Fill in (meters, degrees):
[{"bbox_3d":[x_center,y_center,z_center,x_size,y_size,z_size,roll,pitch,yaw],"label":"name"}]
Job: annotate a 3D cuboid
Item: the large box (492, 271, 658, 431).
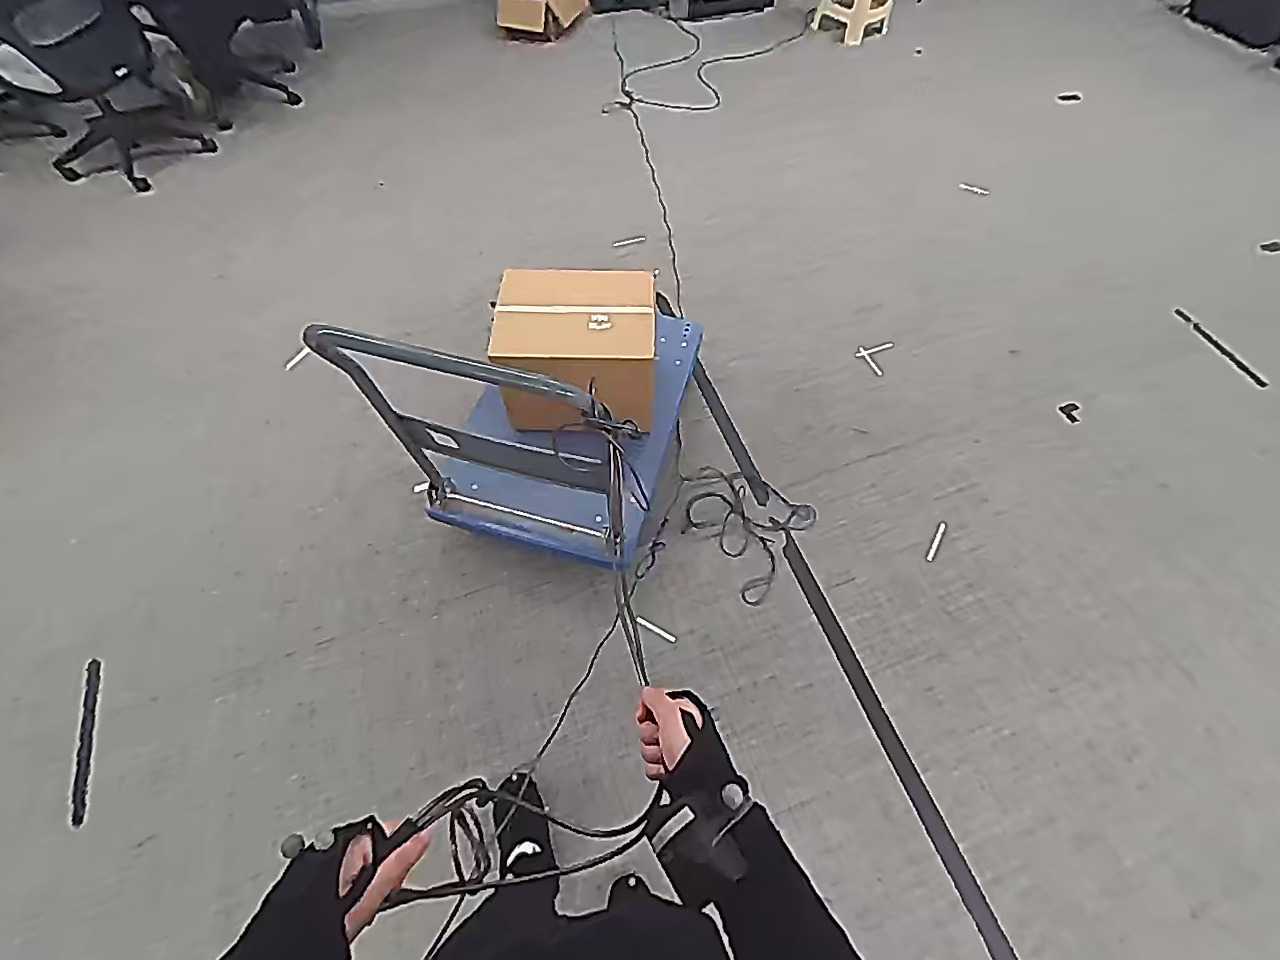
[{"bbox_3d":[-0.158,-0.345,1.488,0.408,0.320,0.320,1,61,0],"label":"large box"}]
